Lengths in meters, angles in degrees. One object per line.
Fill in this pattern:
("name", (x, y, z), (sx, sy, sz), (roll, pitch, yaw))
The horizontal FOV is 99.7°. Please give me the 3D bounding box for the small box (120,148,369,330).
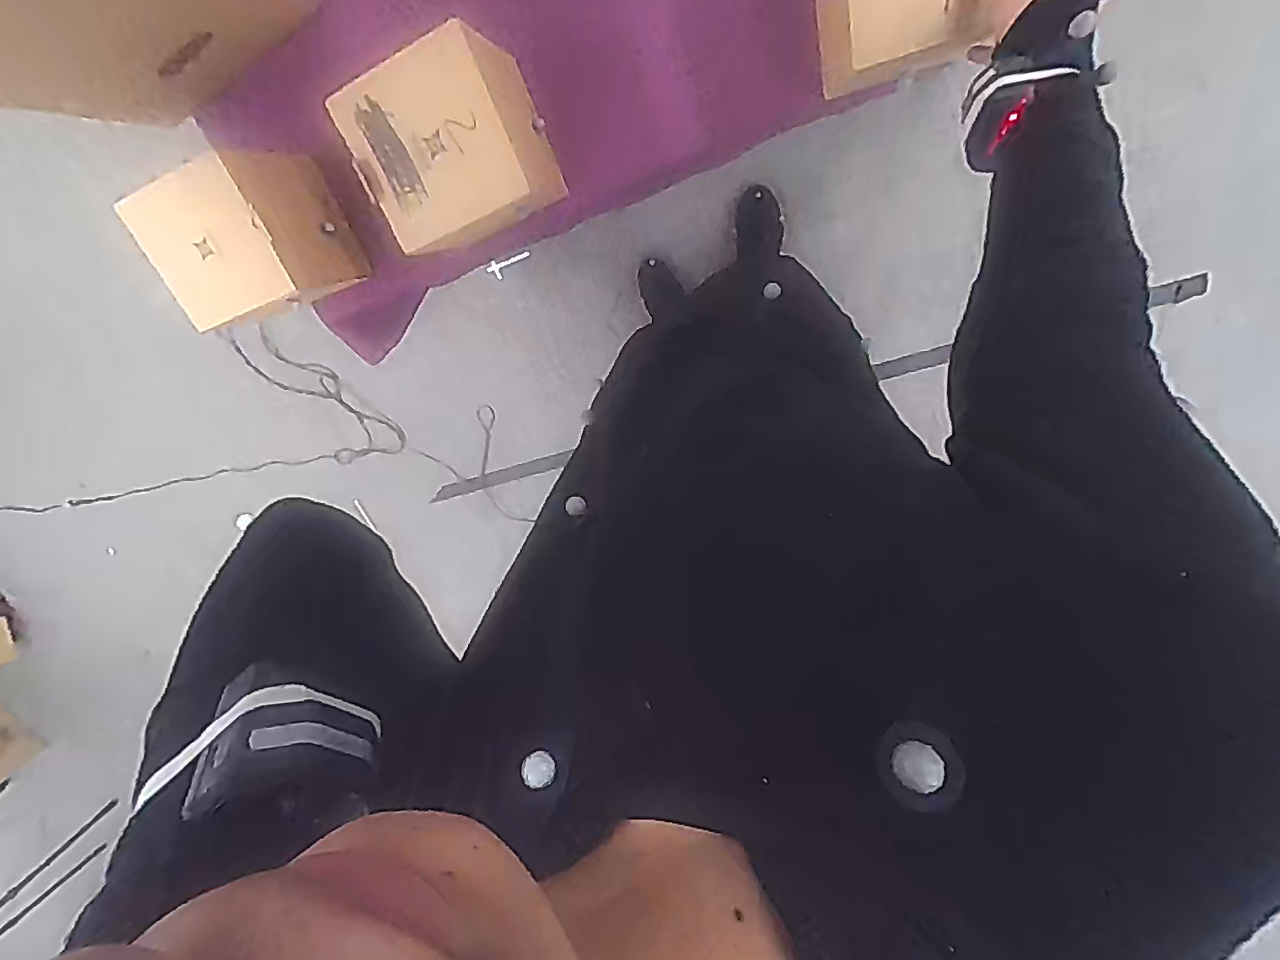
("small box", (-0.519, -0.324, 0.738), (0.179, 0.176, 0.168), (-15, 114, 15))
